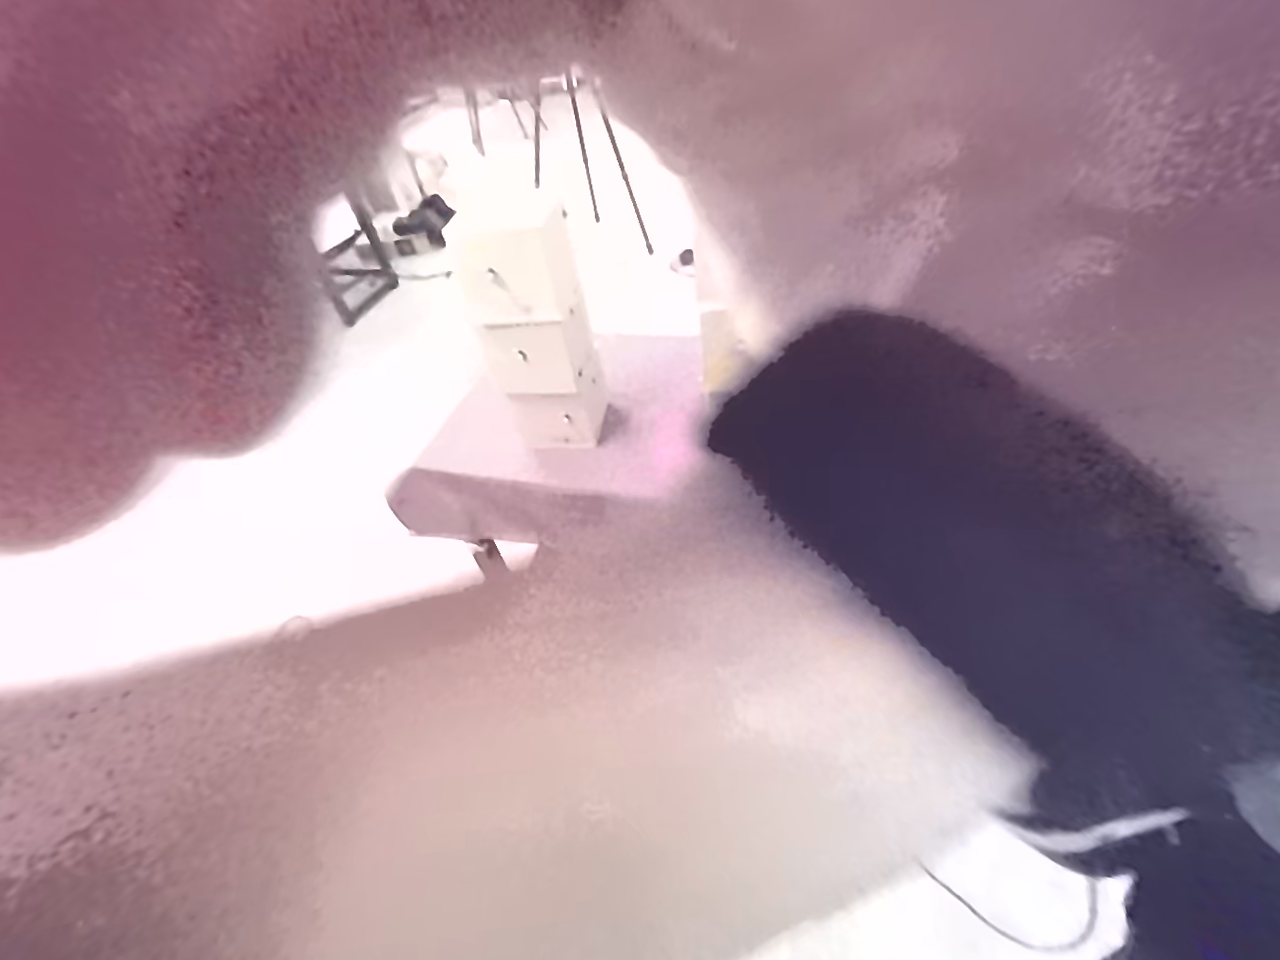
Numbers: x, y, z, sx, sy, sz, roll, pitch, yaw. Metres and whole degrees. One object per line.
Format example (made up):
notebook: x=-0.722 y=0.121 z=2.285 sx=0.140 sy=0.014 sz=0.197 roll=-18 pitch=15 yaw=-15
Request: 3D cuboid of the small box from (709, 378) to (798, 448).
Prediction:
small box: x=0.228 y=-0.185 z=1.123 sx=0.168 sy=0.176 sz=0.179 roll=-3 pitch=45 yaw=8

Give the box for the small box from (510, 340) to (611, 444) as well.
small box: x=-0.168 y=-0.194 z=1.209 sx=0.168 sy=0.176 sz=0.179 roll=2 pitch=45 yaw=11

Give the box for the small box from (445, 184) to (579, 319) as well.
small box: x=-0.211 y=-0.396 z=0.955 sx=0.168 sy=0.176 sz=0.179 roll=-1 pitch=45 yaw=8

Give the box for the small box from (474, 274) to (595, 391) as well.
small box: x=-0.197 y=-0.291 z=1.078 sx=0.179 sy=0.176 sz=0.168 roll=1 pitch=46 yaw=11
